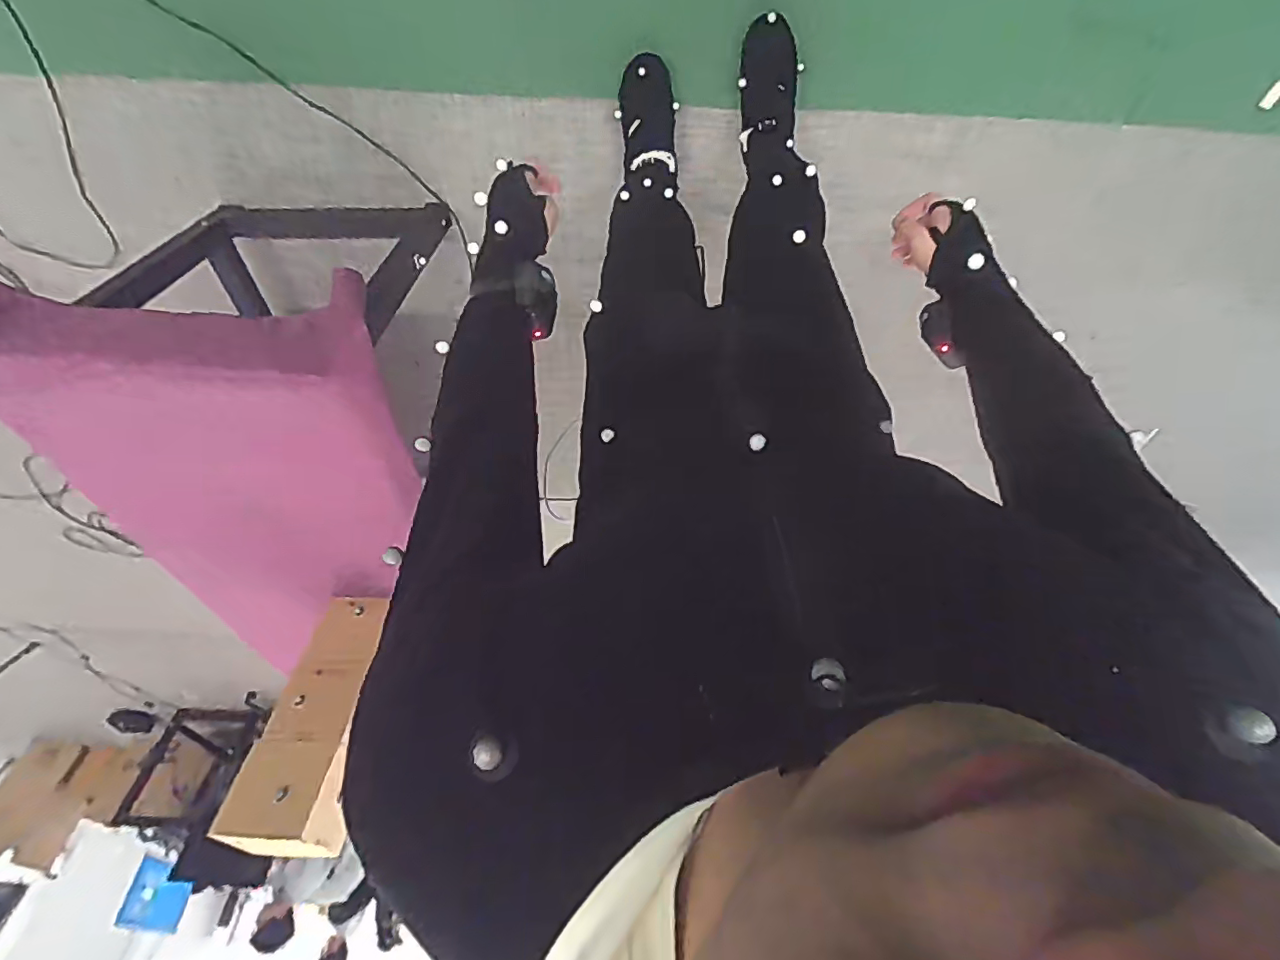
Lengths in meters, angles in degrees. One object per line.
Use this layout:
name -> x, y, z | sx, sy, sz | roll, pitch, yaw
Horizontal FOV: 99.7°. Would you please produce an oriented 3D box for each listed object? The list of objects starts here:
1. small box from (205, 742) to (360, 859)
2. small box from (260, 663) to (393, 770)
small box -> -0.683, 0.630, 1.067 | 0.179, 0.176, 0.168 | 1, 135, 2
small box -> -0.671, 0.515, 1.181 | 0.168, 0.176, 0.179 | 2, 136, 1
